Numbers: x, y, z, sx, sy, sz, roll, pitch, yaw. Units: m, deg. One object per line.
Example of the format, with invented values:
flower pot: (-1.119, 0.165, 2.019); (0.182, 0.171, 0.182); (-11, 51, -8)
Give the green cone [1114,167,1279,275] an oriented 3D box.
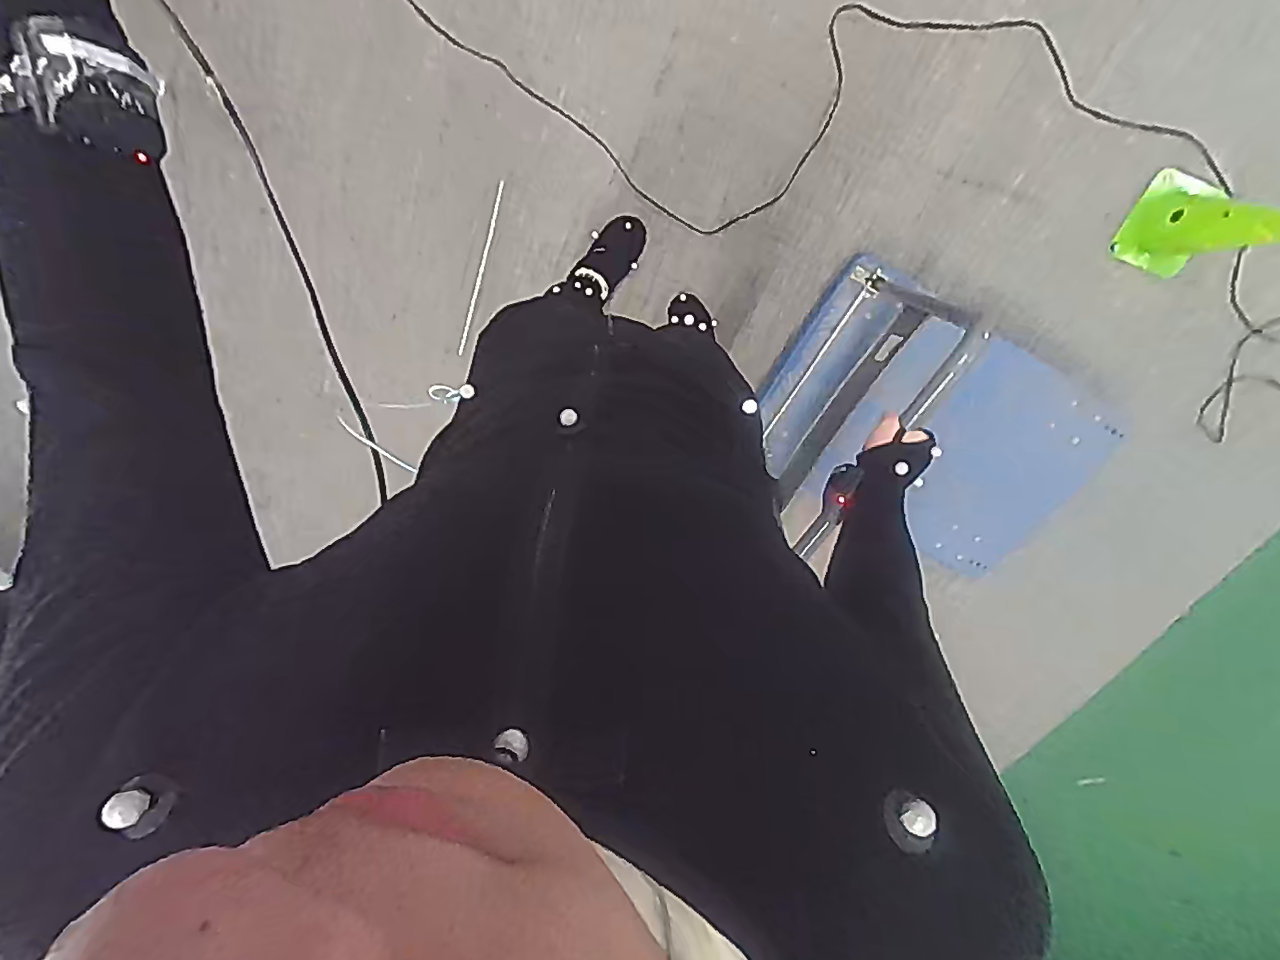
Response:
green cone: (1.281, -0.551, 1.152); (0.200, 0.368, 0.202); (18, 114, -5)
